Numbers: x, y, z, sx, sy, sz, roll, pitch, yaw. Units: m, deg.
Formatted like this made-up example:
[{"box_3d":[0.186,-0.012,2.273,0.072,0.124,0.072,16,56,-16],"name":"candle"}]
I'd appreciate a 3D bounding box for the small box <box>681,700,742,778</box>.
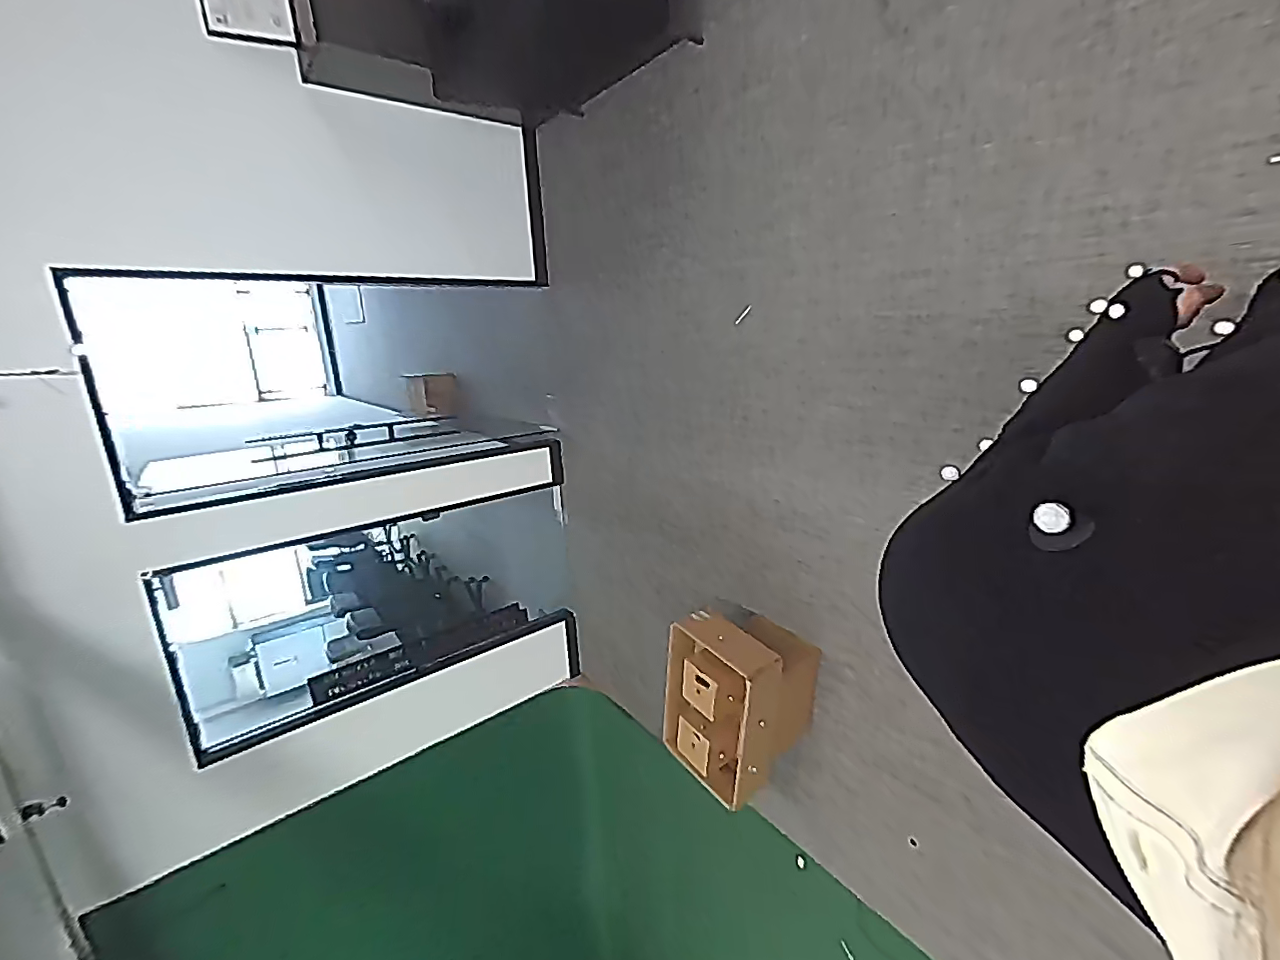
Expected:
[{"box_3d":[0.276,0.992,2.084,0.168,0.176,0.179,26,122,48],"name":"small box"}]
